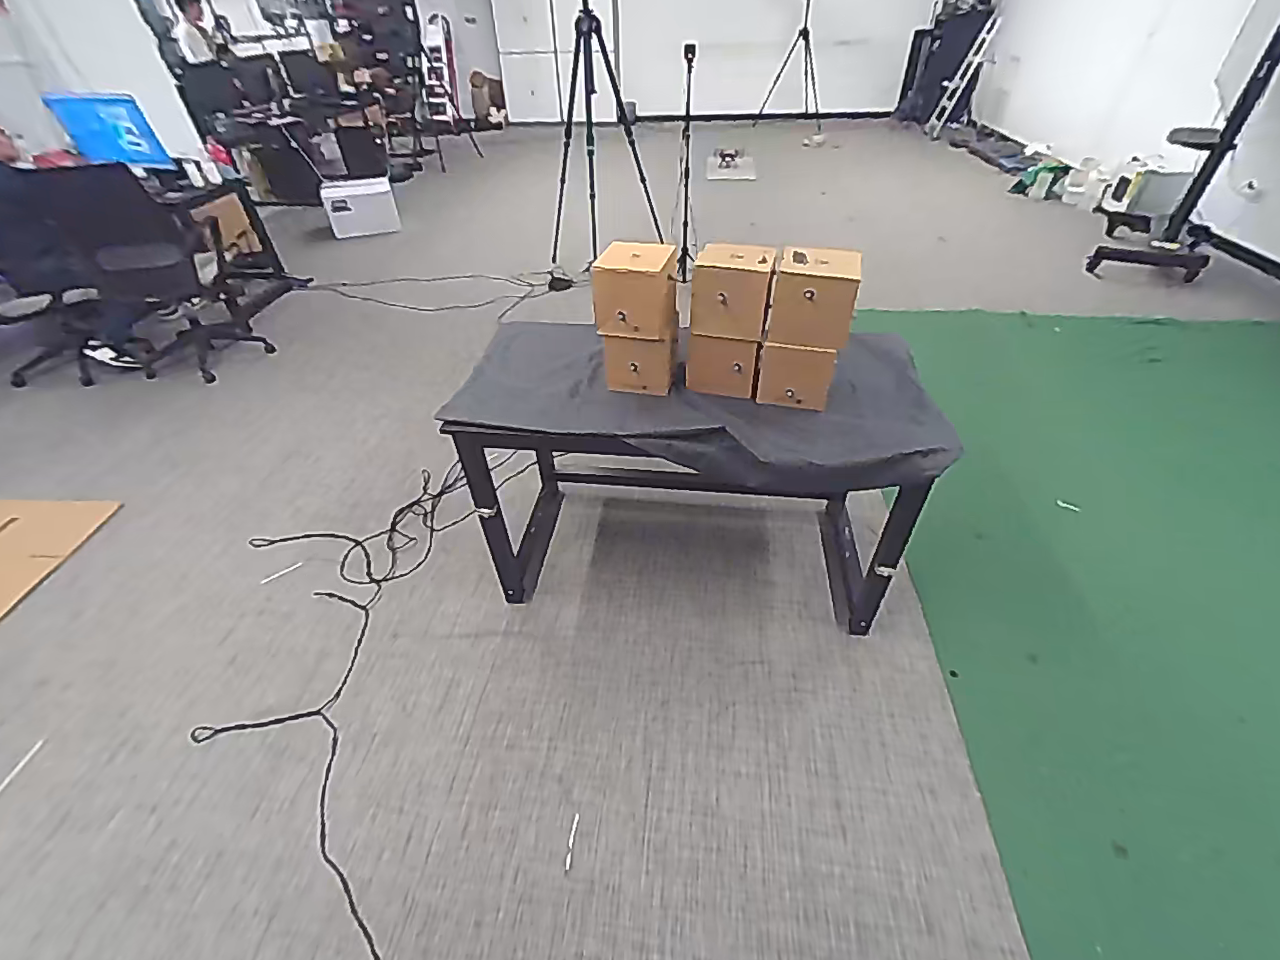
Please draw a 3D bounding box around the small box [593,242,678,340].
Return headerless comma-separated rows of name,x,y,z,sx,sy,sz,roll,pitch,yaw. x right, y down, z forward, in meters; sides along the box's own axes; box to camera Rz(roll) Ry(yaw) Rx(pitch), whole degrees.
small box,-0.007,-0.466,1.331,0.168,0.176,0.179,9,44,13
